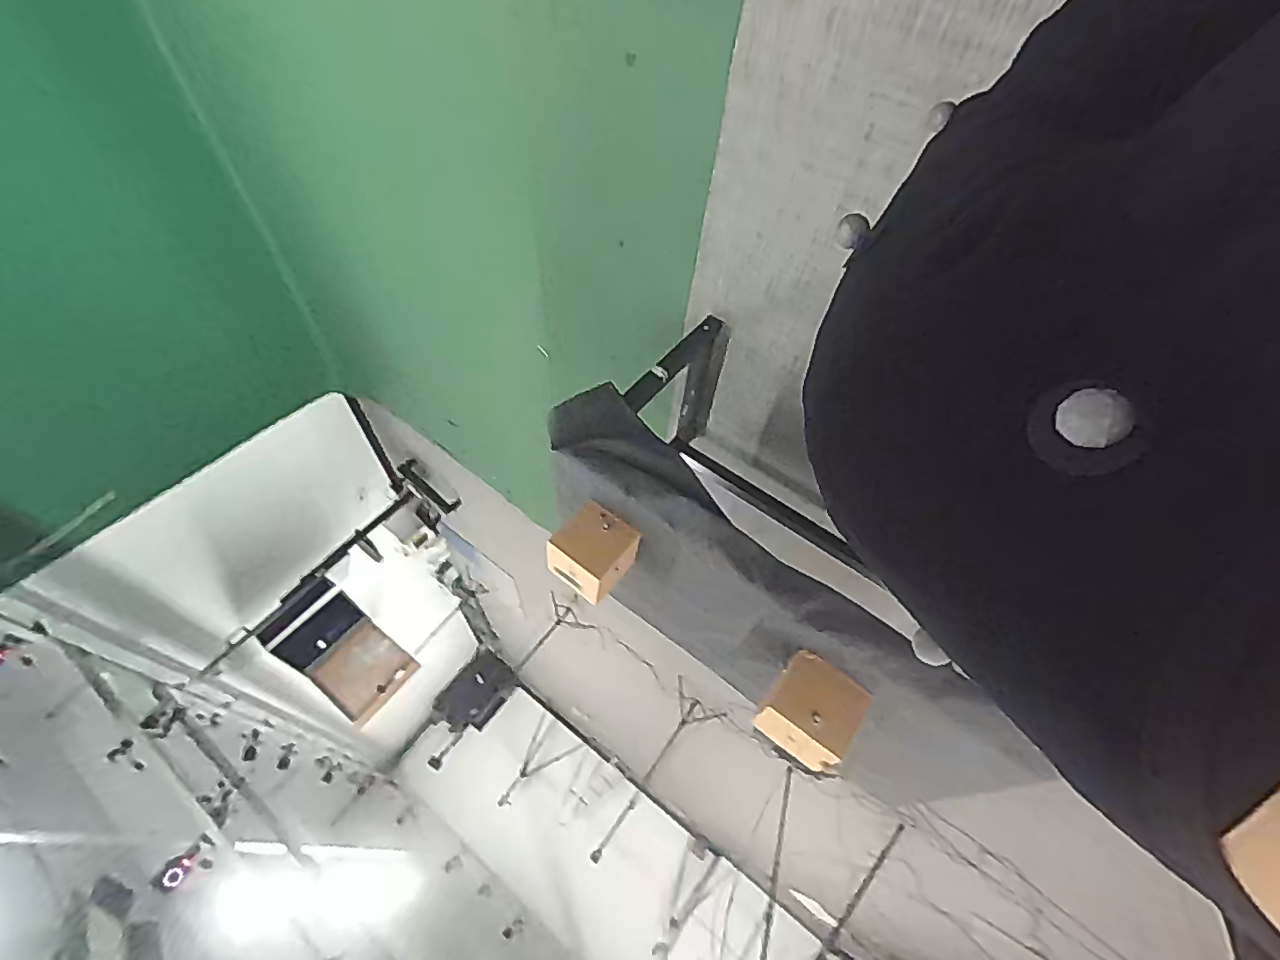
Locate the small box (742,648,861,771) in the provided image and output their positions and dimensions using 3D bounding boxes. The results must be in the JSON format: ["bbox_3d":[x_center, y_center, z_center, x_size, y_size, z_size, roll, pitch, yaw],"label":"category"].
[{"bbox_3d":[0.361,0.513,1.213,0.179,0.176,0.168,35,148,17],"label":"small box"}]
